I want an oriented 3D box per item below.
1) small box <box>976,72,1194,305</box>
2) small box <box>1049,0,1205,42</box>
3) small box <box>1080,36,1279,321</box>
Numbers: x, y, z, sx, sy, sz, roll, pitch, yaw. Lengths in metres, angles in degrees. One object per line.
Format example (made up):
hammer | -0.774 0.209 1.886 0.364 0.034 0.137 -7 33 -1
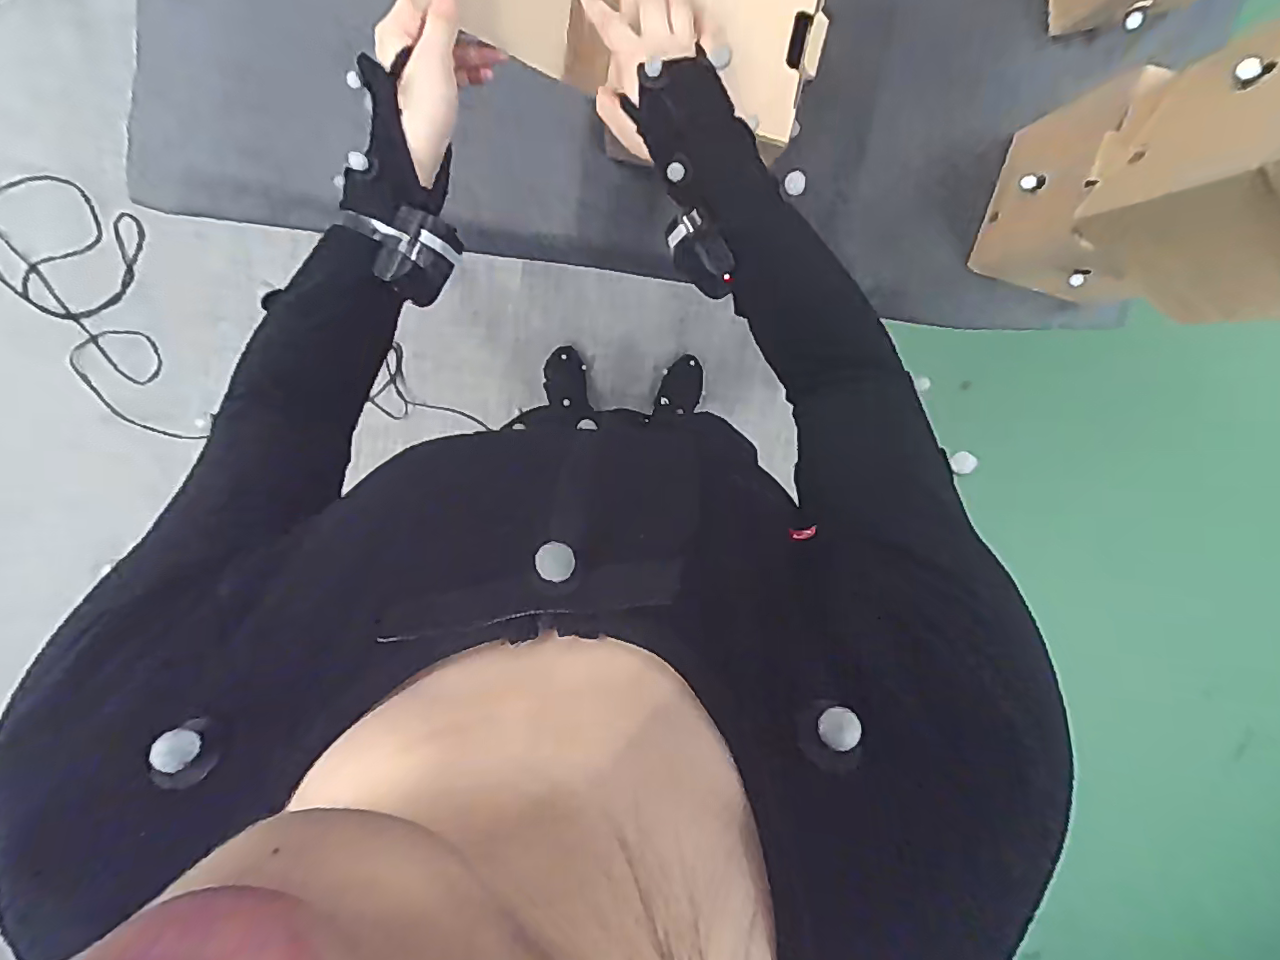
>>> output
small box | 0.525 -0.302 0.604 0.179 0.176 0.168 13 102 -6
small box | 0.539 -0.582 0.527 0.168 0.176 0.179 -12 108 3
small box | 0.536 -0.248 0.450 0.179 0.176 0.168 34 99 -11
